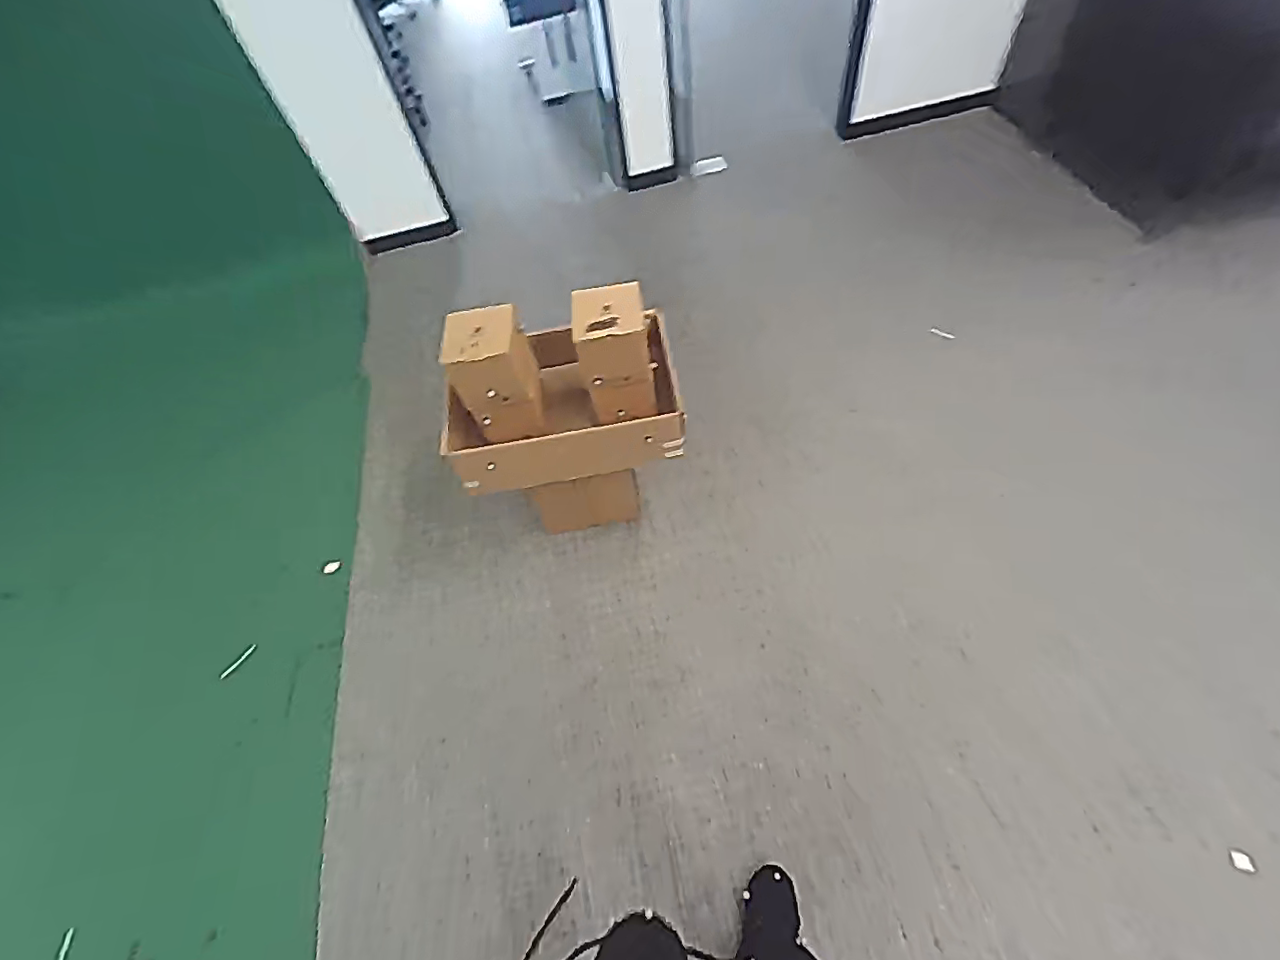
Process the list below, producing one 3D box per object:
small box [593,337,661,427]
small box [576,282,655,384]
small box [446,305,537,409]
[{"bbox_3d":[-0.037,-0.272,1.475,0.168,0.176,0.179,-10,58,2],"label":"small box"},{"bbox_3d":[-0.059,-0.353,1.334,0.168,0.176,0.179,-8,57,3],"label":"small box"},{"bbox_3d":[-0.361,-0.303,1.346,0.168,0.176,0.179,-8,57,4],"label":"small box"}]
